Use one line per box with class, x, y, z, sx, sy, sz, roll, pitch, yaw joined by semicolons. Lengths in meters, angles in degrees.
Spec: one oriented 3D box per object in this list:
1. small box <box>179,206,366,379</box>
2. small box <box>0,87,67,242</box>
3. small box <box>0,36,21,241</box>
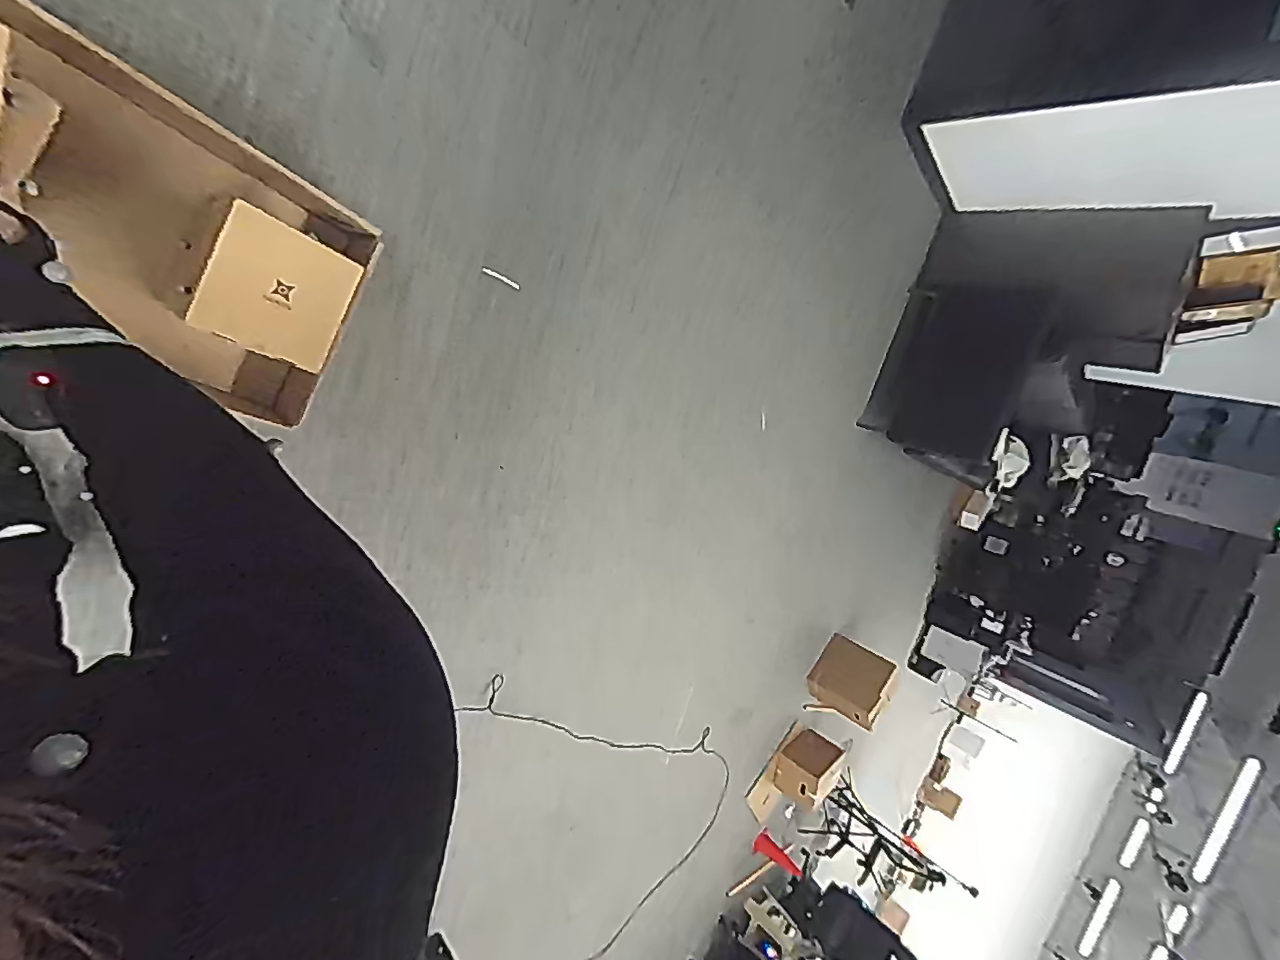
small box;-0.546;-0.275;0.800;0.168;0.176;0.179;24;90;-48
small box;-0.742;-0.356;0.553;0.168;0.176;0.179;29;87;-50
small box;-0.615;-0.284;0.418;0.168;0.176;0.179;6;103;-50
